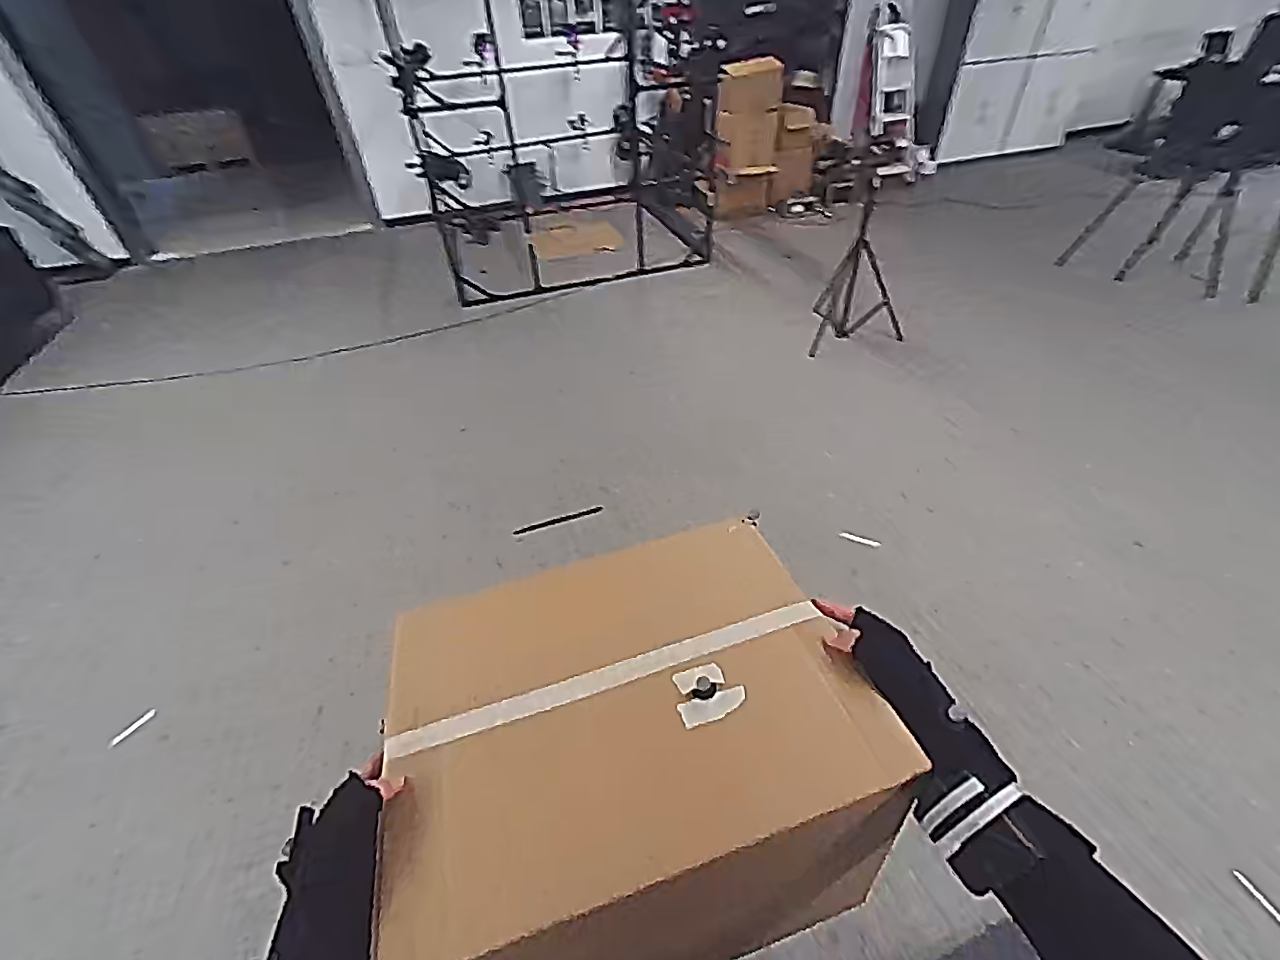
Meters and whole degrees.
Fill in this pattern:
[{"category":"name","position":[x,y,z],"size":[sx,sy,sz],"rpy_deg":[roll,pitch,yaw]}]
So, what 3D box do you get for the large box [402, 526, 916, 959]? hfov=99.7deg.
[{"category":"large box","position":[0.000,0.306,0.590],"size":[0.408,0.320,0.320],"rpy_deg":[-14,38,-10]}]
